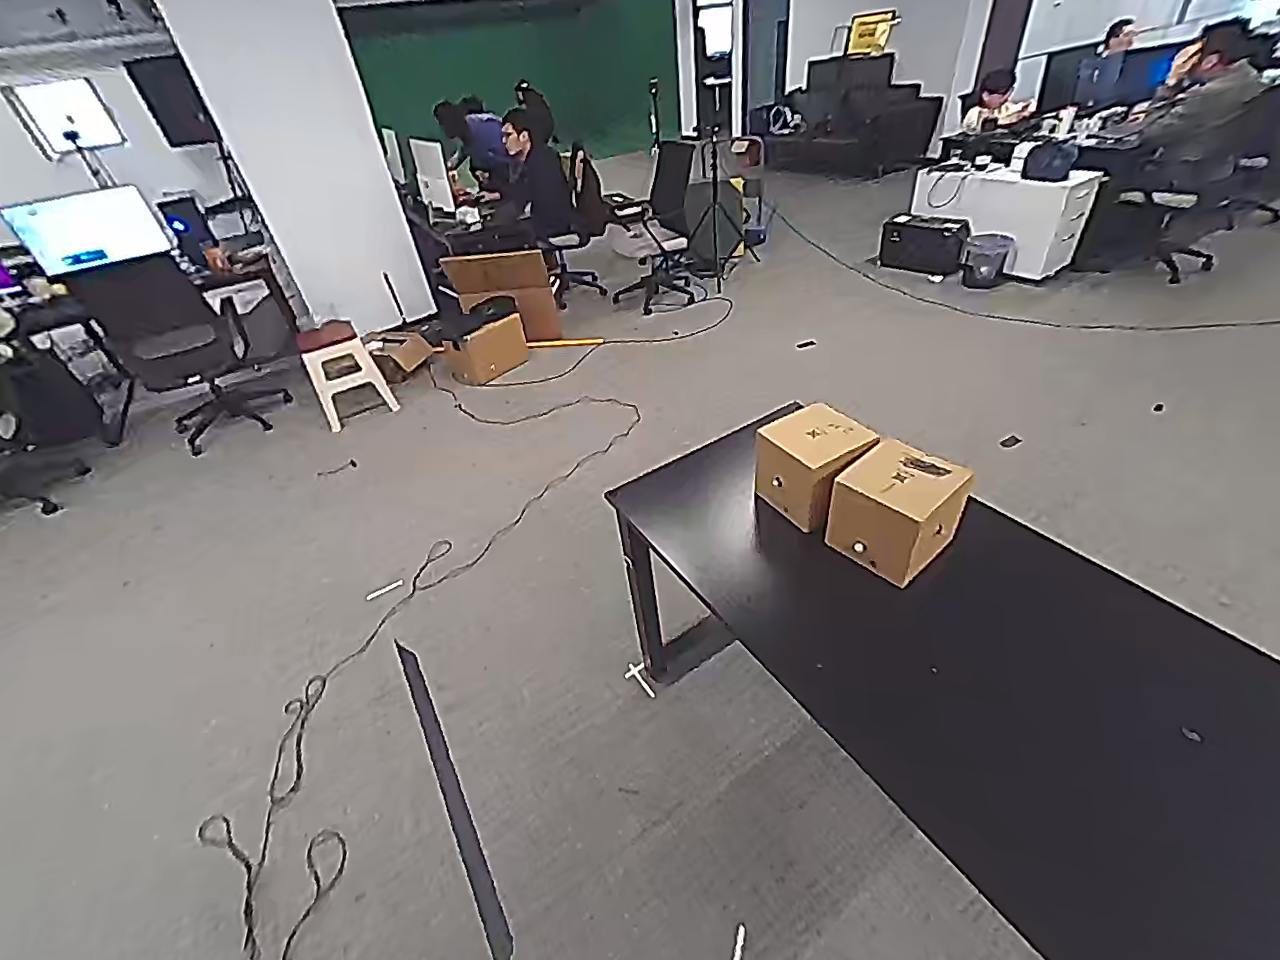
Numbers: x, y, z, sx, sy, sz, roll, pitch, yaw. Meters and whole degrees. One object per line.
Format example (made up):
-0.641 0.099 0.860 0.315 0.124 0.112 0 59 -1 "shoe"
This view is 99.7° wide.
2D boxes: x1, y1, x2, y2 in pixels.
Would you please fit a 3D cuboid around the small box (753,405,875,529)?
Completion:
0.356 -0.026 1.128 0.179 0.176 0.168 -24 42 -19 "small box"
